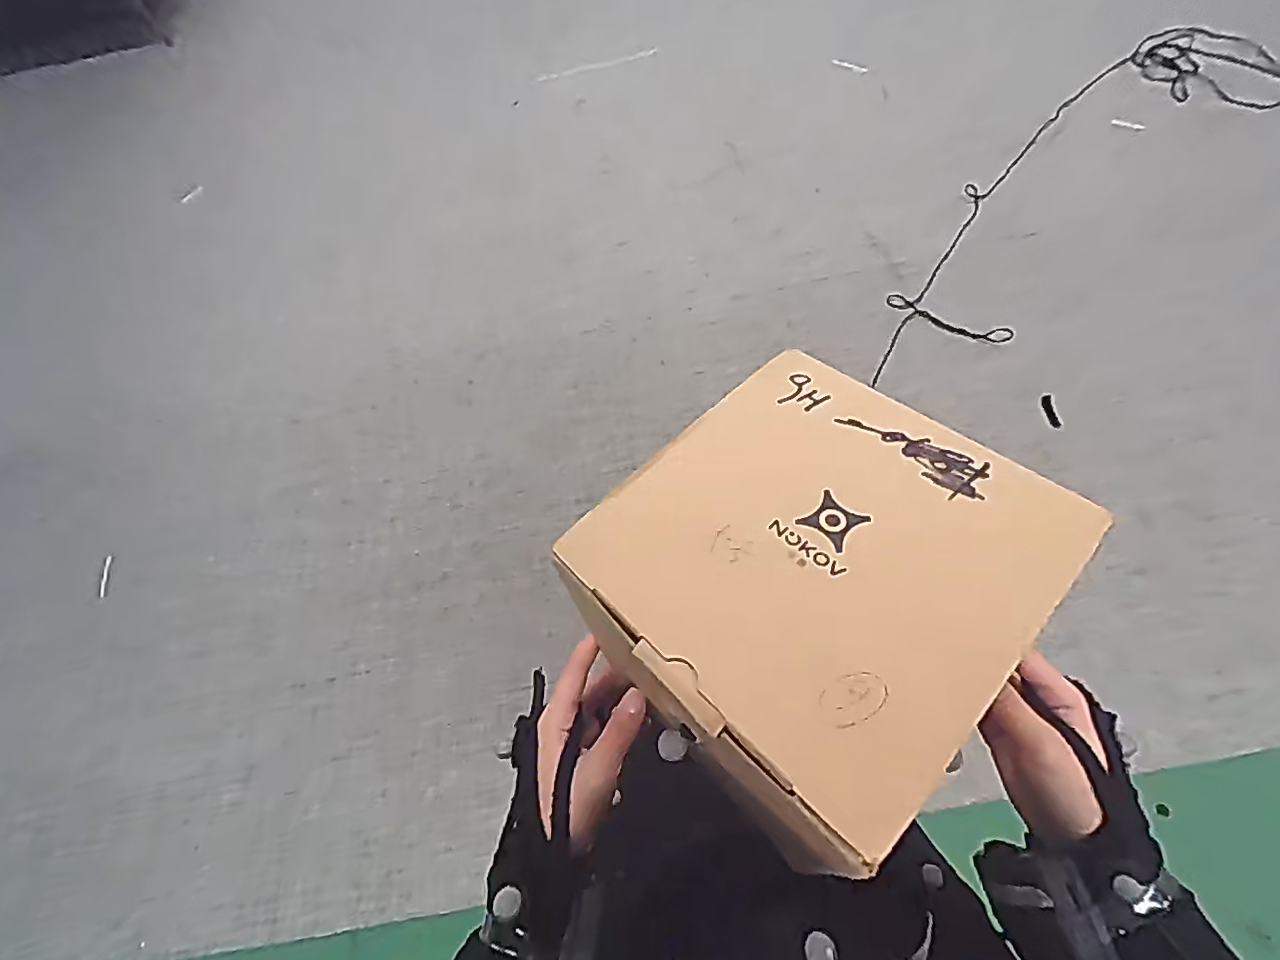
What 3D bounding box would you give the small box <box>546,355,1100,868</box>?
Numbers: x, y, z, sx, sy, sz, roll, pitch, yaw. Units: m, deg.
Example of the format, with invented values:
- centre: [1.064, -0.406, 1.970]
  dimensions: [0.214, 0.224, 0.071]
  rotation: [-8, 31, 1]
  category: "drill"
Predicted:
- centre: [0.083, 0.072, 0.296]
  dimensions: [0.179, 0.176, 0.168]
  rotation: [-40, 58, -18]
  category: "small box"
